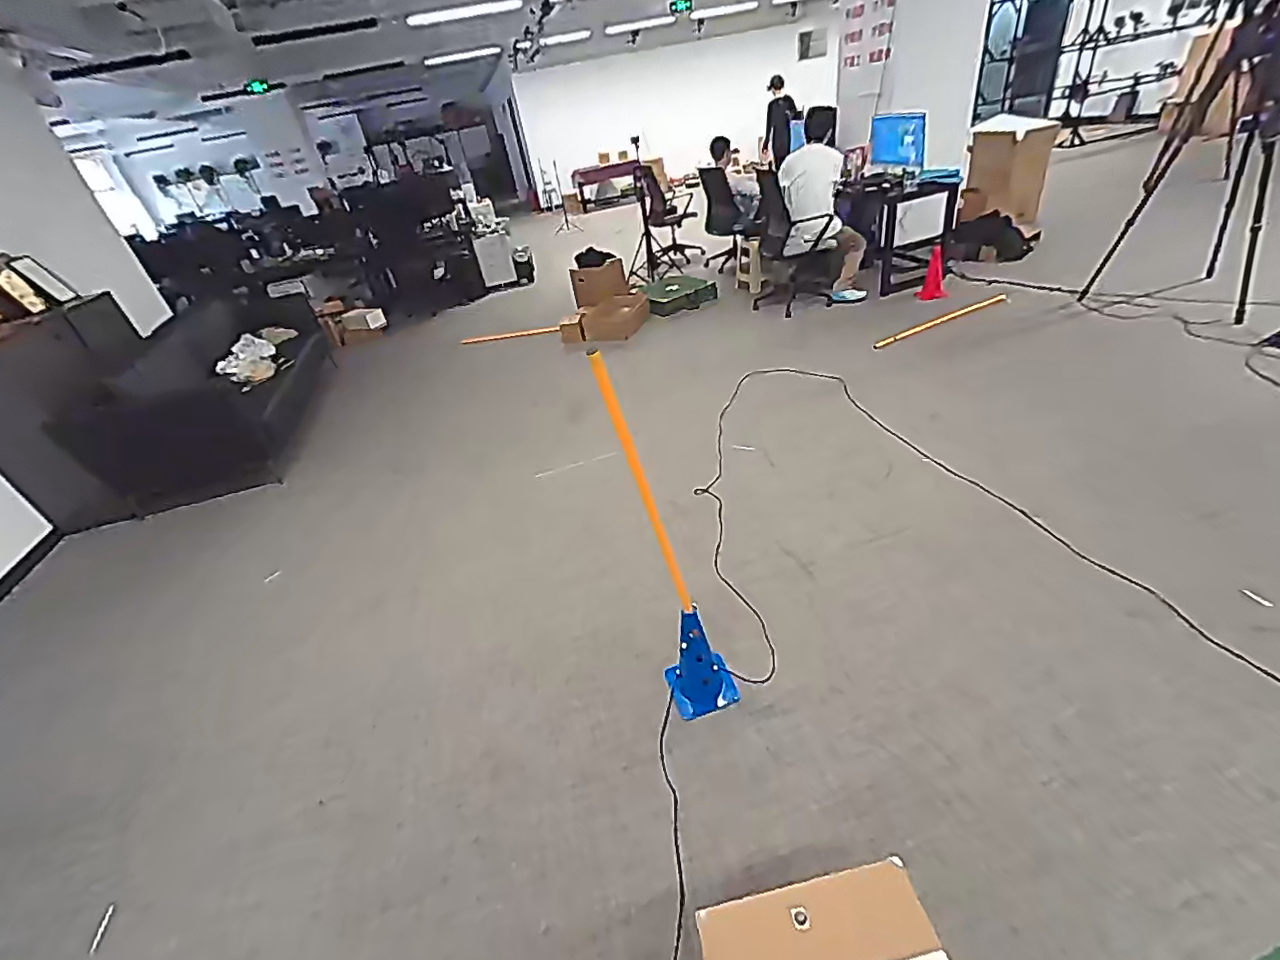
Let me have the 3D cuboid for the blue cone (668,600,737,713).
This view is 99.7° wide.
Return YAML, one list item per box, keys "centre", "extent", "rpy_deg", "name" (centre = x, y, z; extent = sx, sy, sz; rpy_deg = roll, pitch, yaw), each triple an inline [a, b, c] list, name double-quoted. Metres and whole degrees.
- centre: [0.169, 0.512, 1.639]
  extent: [0.193, 0.380, 0.192]
  rpy_deg: [-20, 34, -9]
  name: "blue cone"
